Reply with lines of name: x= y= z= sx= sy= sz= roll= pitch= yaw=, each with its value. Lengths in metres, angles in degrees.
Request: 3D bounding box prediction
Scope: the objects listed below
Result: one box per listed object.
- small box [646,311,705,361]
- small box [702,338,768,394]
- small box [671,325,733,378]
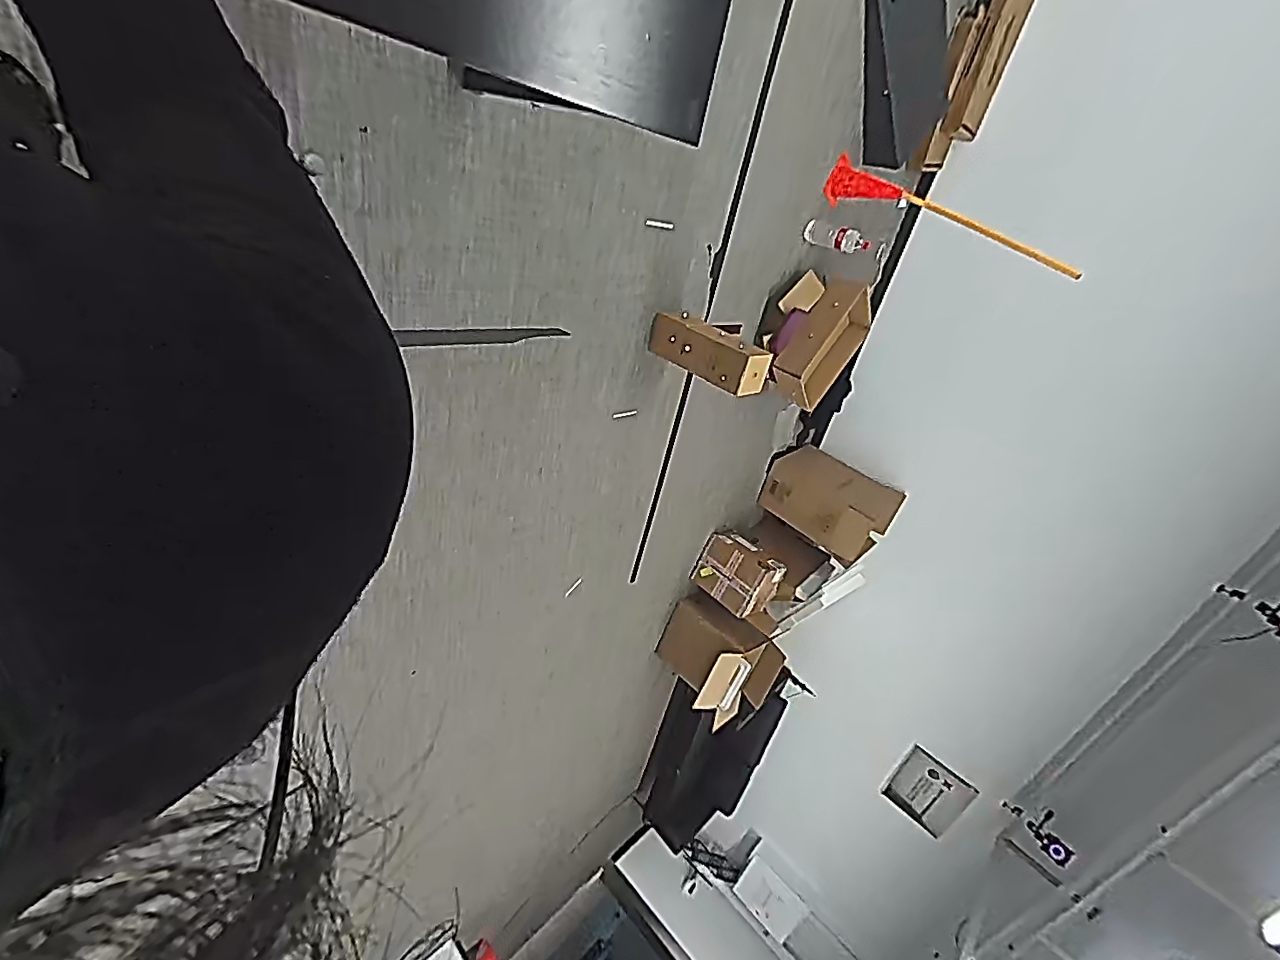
small box: x=0.147 y=-0.620 z=2.323 sx=0.168 sy=0.176 sz=0.179 roll=-17 pitch=133 yaw=-44
small box: x=0.372 y=-0.457 z=2.151 sx=0.179 sy=0.176 sz=0.168 roll=-19 pitch=135 yaw=-45
small box: x=0.257 y=-0.537 z=2.234 sx=0.179 sy=0.176 sz=0.168 roll=-17 pitch=132 yaw=-44
